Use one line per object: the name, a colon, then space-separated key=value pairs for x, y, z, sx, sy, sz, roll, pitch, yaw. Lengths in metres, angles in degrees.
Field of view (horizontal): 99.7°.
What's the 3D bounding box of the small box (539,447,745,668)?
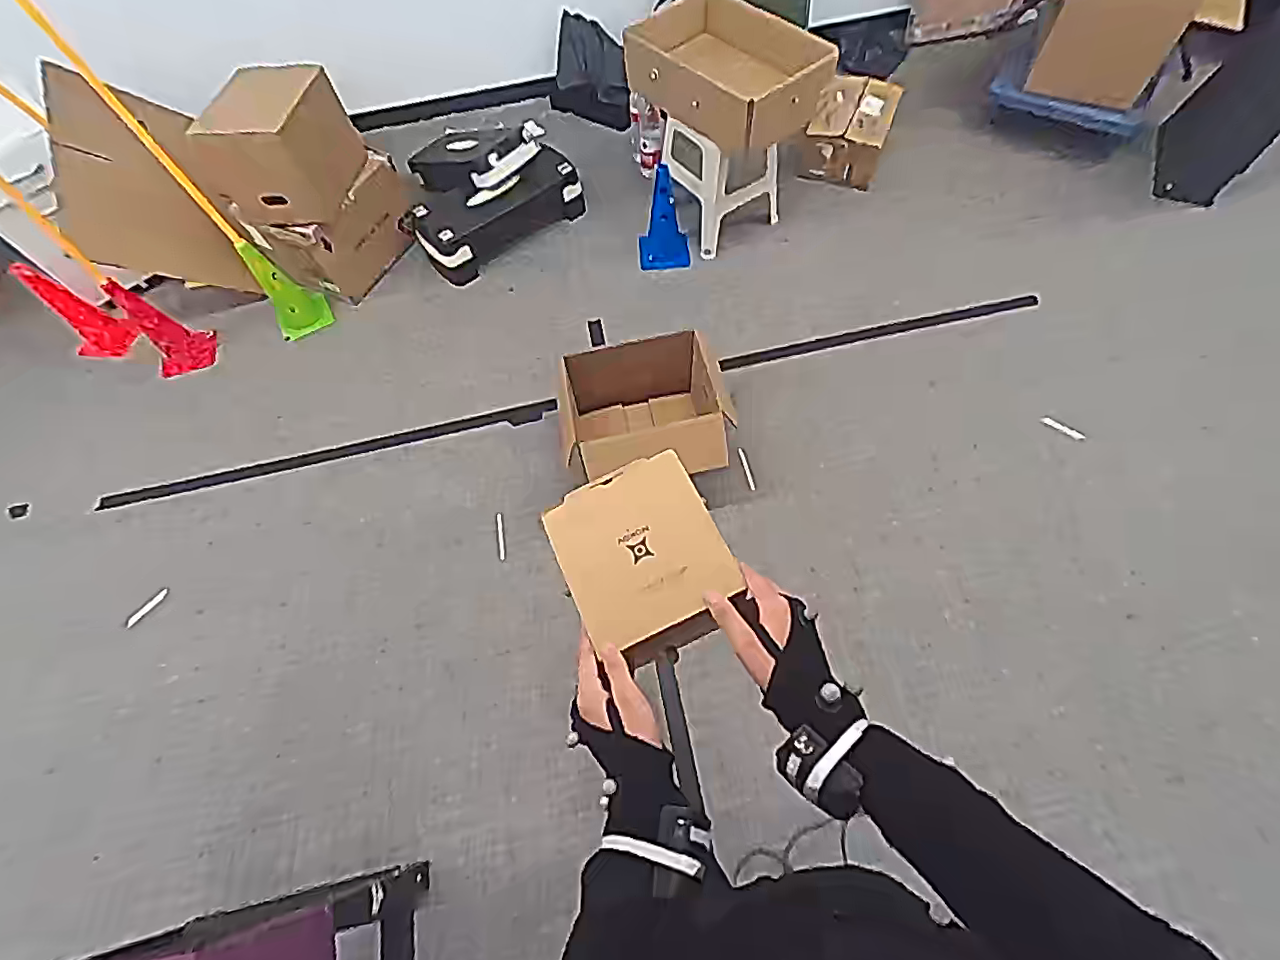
small box: x=0.006 y=0.098 z=0.627 sx=0.168 sy=0.176 sz=0.179 roll=-26 pitch=65 yaw=-3
